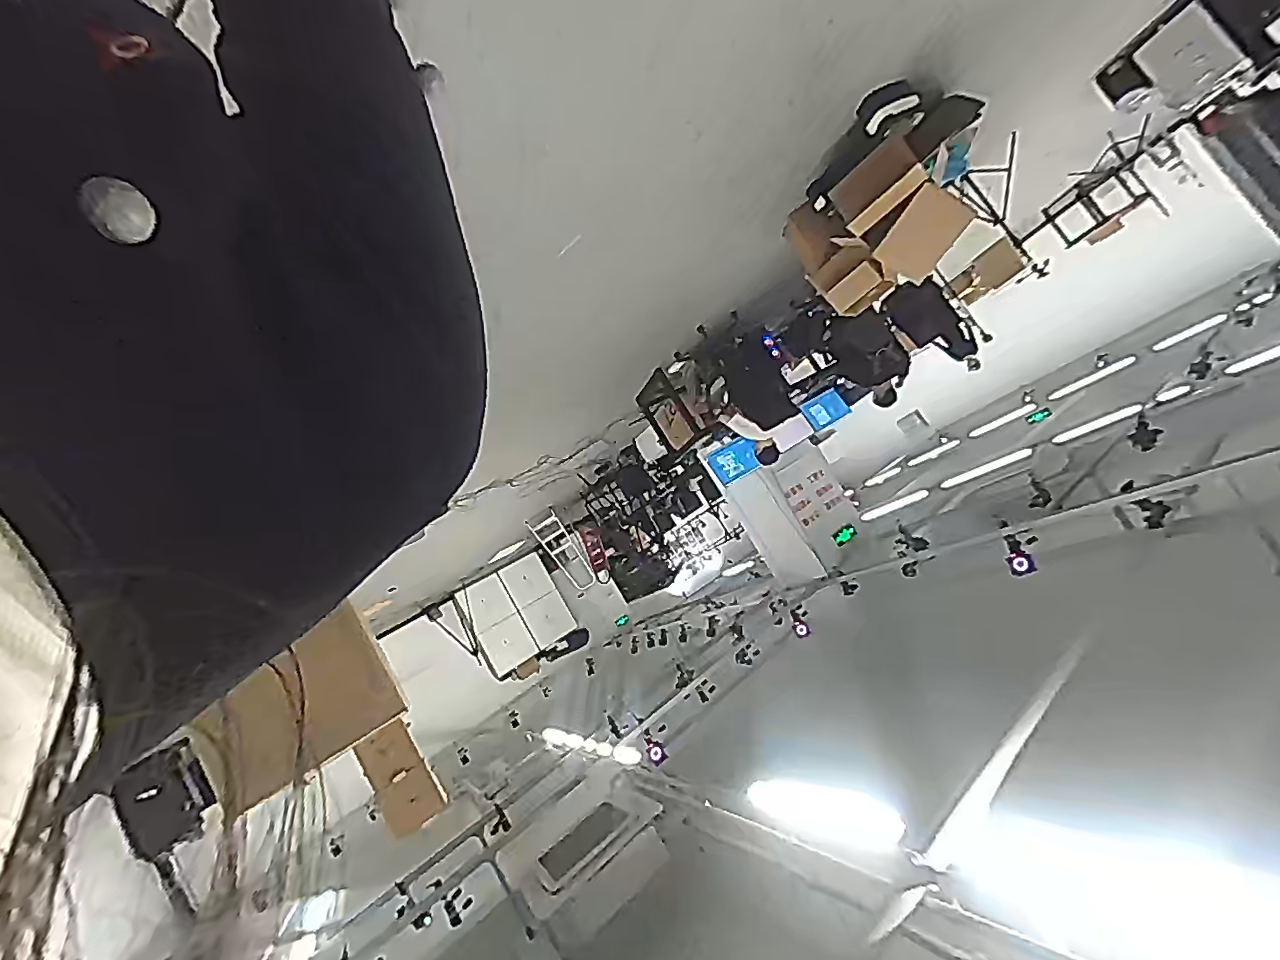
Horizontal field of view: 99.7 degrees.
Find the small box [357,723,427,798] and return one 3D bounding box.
[{"bbox_3d":[-0.853,0.961,1.868,0.168,0.176,0.179,-30,170,-29],"label":"small box"}]

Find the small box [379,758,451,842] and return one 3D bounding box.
[{"bbox_3d":[-0.769,1.081,1.841,0.179,0.176,0.168,-31,172,-29],"label":"small box"}]
